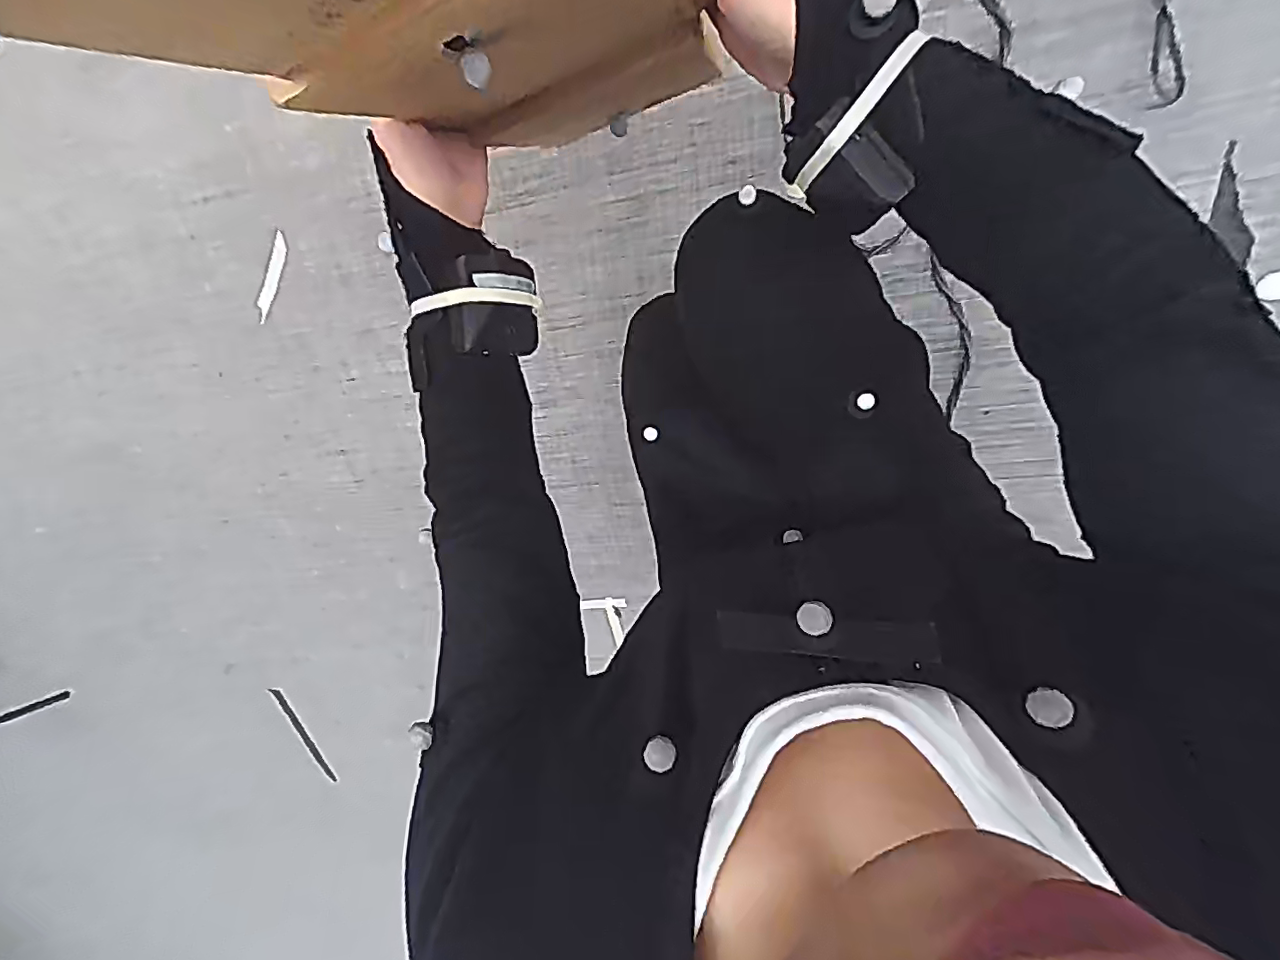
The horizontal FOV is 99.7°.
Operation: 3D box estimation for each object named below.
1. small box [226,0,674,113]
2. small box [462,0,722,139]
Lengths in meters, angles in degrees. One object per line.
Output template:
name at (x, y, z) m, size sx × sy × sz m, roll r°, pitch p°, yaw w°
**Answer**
small box at (-0.085, -0.288, 0.237) m, size 0.179 × 0.176 × 0.168 m, roll -10°, pitch 117°, yaw 22°
small box at (-0.048, -0.362, 0.377) m, size 0.168 × 0.176 × 0.179 m, roll -9°, pitch 118°, yaw 21°
